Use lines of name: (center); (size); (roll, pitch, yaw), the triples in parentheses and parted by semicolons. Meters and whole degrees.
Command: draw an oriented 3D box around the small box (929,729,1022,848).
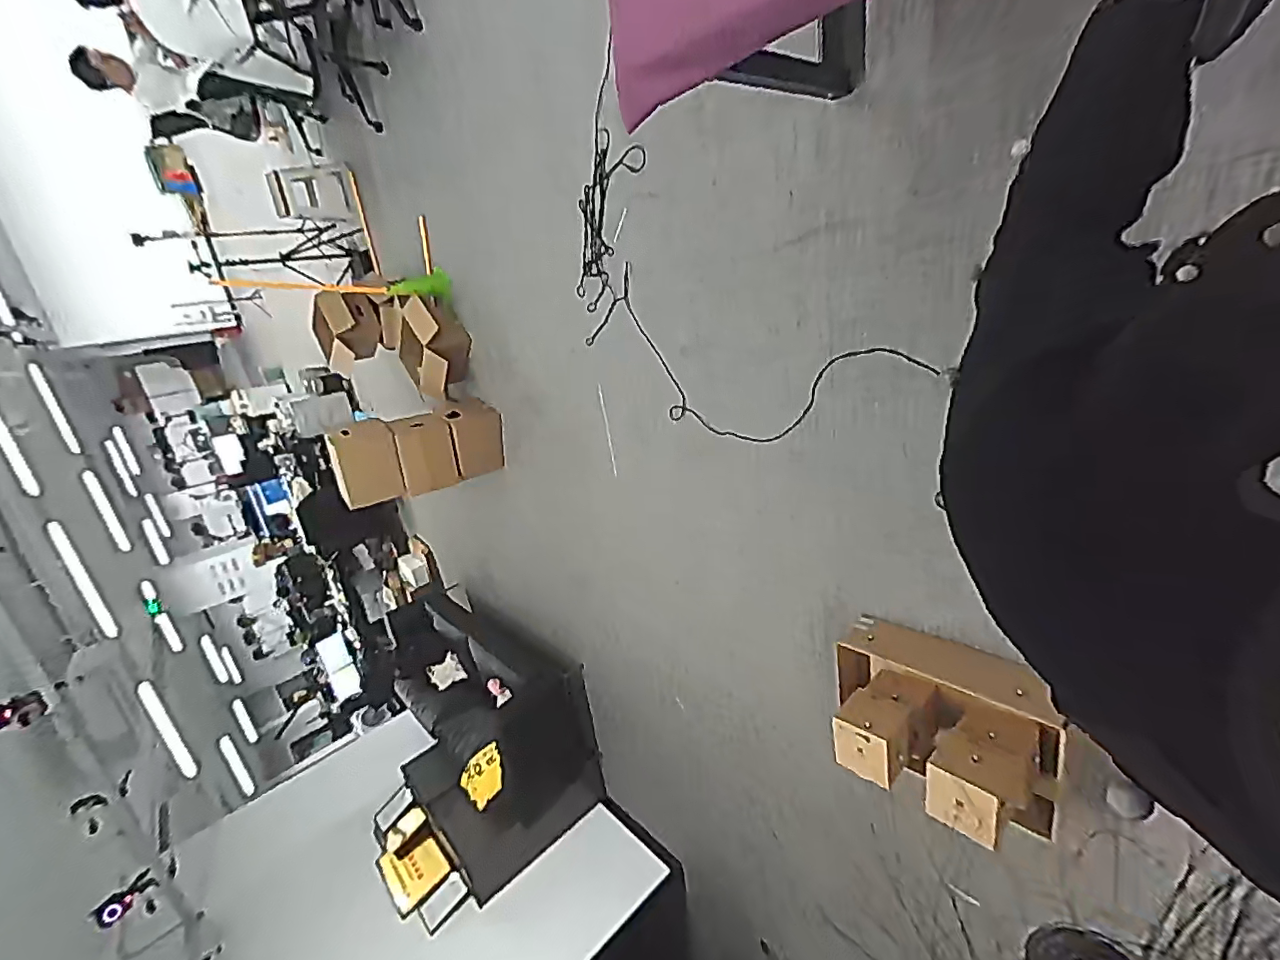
small box: (0.885, 0.801, 1.426); (0.168, 0.176, 0.179); (13, 117, 49)

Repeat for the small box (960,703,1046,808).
small box: (1.015, 0.760, 1.518); (0.179, 0.176, 0.168); (7, 113, 51)

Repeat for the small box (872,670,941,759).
small box: (0.838, 0.737, 1.721); (0.179, 0.176, 0.168); (6, 113, 52)

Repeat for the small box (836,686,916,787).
small box: (0.711, 0.762, 1.623); (0.168, 0.176, 0.179); (9, 116, 48)
